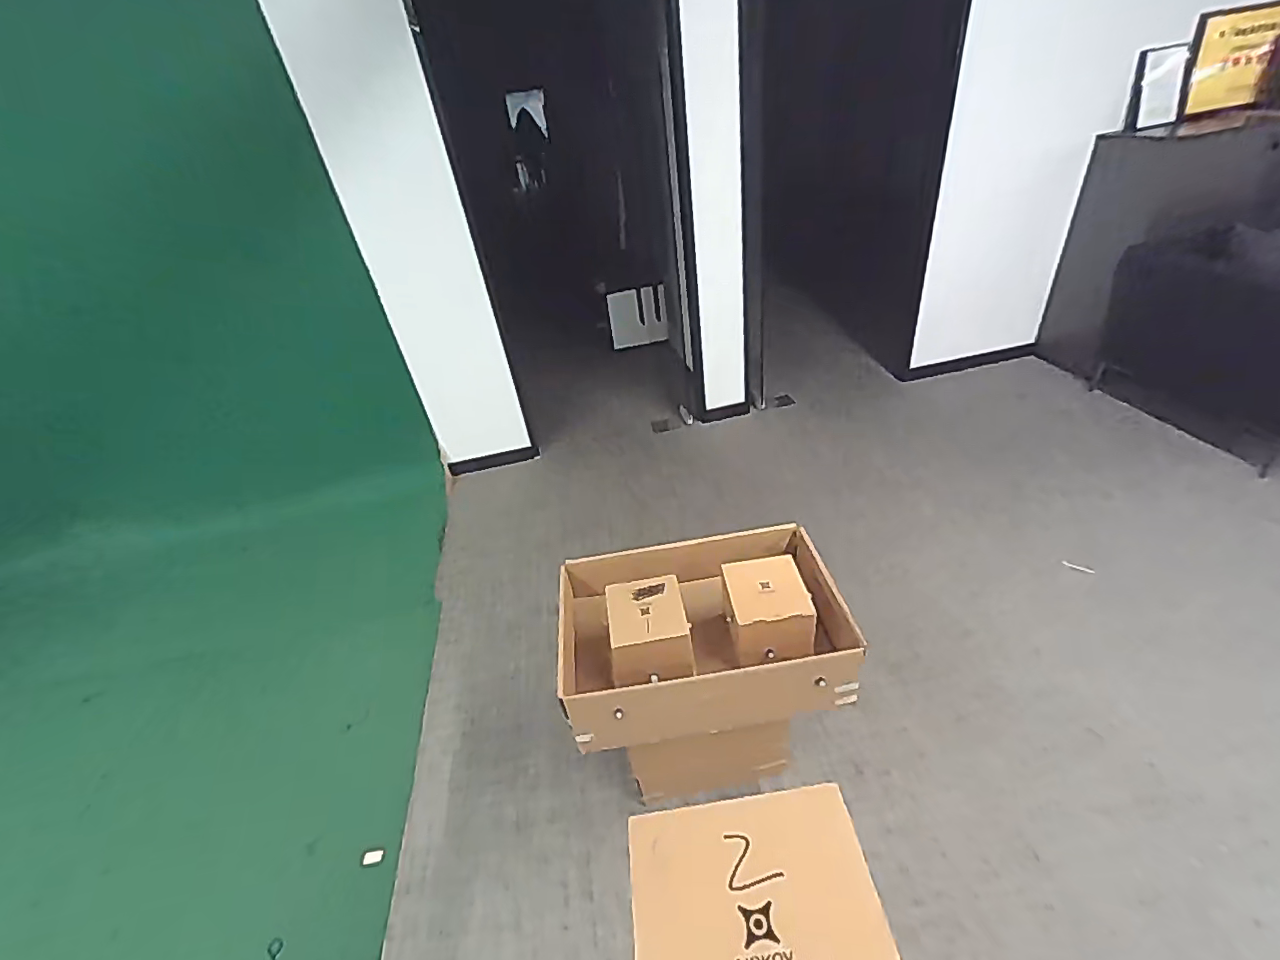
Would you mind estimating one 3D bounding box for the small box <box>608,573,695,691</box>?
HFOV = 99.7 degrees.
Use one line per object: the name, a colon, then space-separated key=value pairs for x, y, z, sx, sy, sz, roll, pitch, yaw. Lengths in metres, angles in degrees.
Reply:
small box: x=0.025 y=0.340 z=1.215 sx=0.168 sy=0.176 sz=0.179 roll=-11 pitch=37 yaw=-1
